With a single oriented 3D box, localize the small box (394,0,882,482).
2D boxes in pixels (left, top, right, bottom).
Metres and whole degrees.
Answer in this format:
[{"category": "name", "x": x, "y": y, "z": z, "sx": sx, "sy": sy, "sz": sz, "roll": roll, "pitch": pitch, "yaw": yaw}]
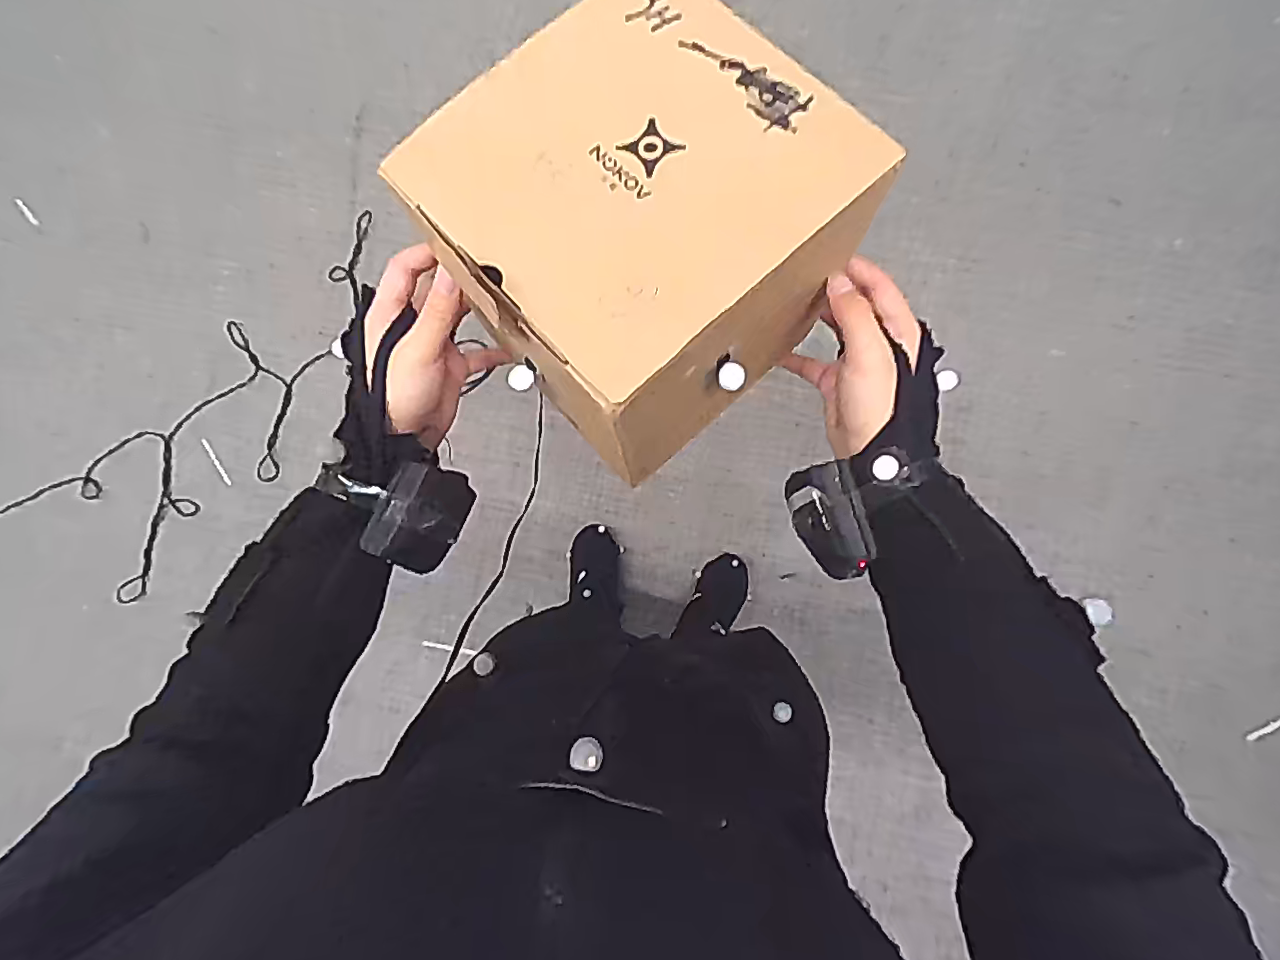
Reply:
[{"category": "small box", "x": 0.001, "y": -0.120, "z": 0.331, "sx": 0.179, "sy": 0.176, "sz": 0.168, "roll": -42, "pitch": 80, "yaw": -5}]
